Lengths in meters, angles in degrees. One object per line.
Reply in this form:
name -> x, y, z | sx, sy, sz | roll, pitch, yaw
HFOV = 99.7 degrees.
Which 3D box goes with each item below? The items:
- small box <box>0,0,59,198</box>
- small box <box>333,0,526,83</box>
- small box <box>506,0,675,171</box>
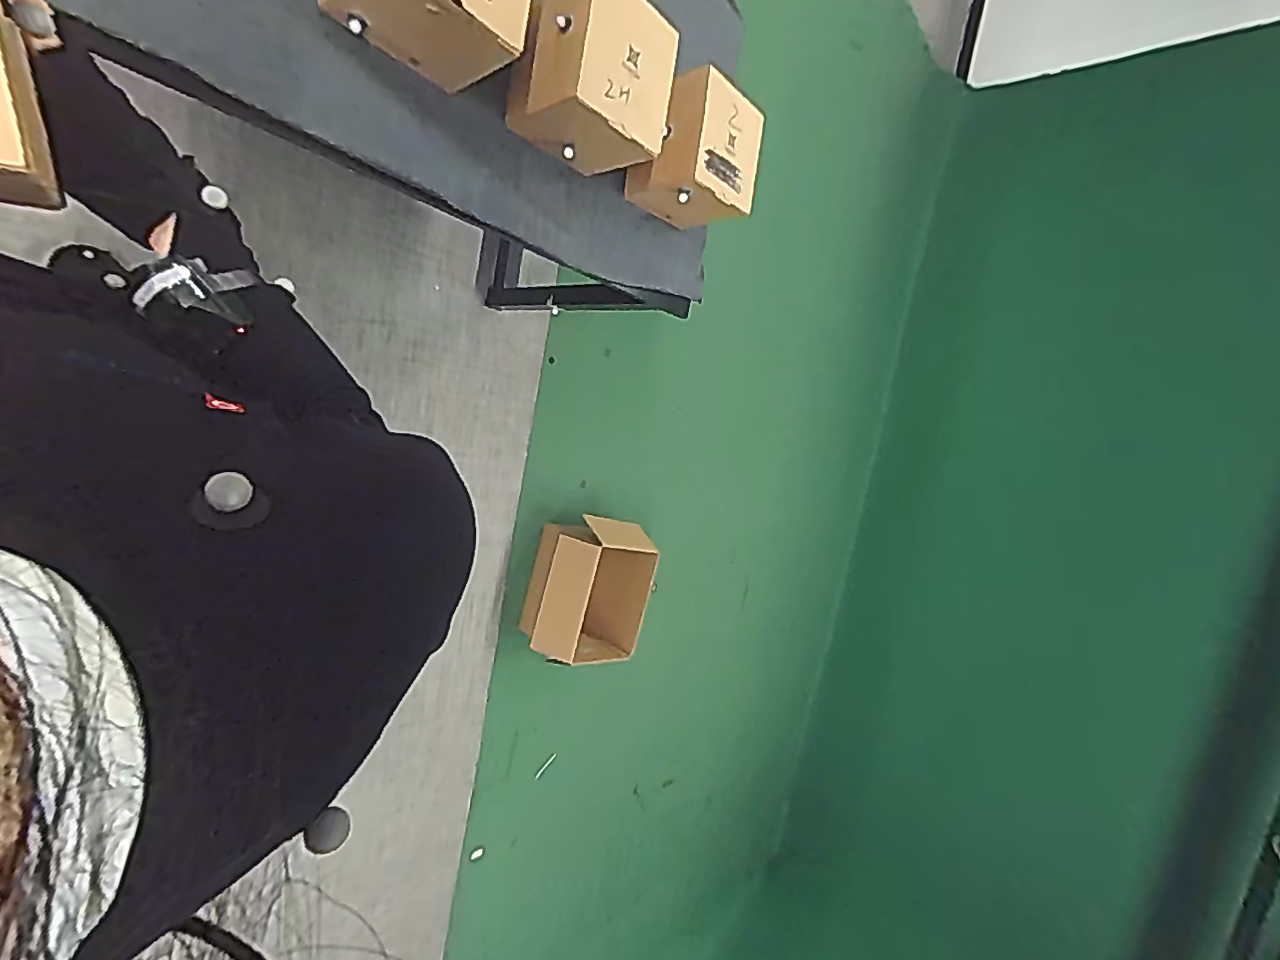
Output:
small box -> -0.409, -0.248, 0.251 | 0.168, 0.176, 0.179 | -12, 113, -41
small box -> -0.236, -0.595, 0.606 | 0.168, 0.176, 0.179 | 6, 97, -49
small box -> -0.075, -0.586, 0.787 | 0.168, 0.176, 0.179 | 3, 100, -48
